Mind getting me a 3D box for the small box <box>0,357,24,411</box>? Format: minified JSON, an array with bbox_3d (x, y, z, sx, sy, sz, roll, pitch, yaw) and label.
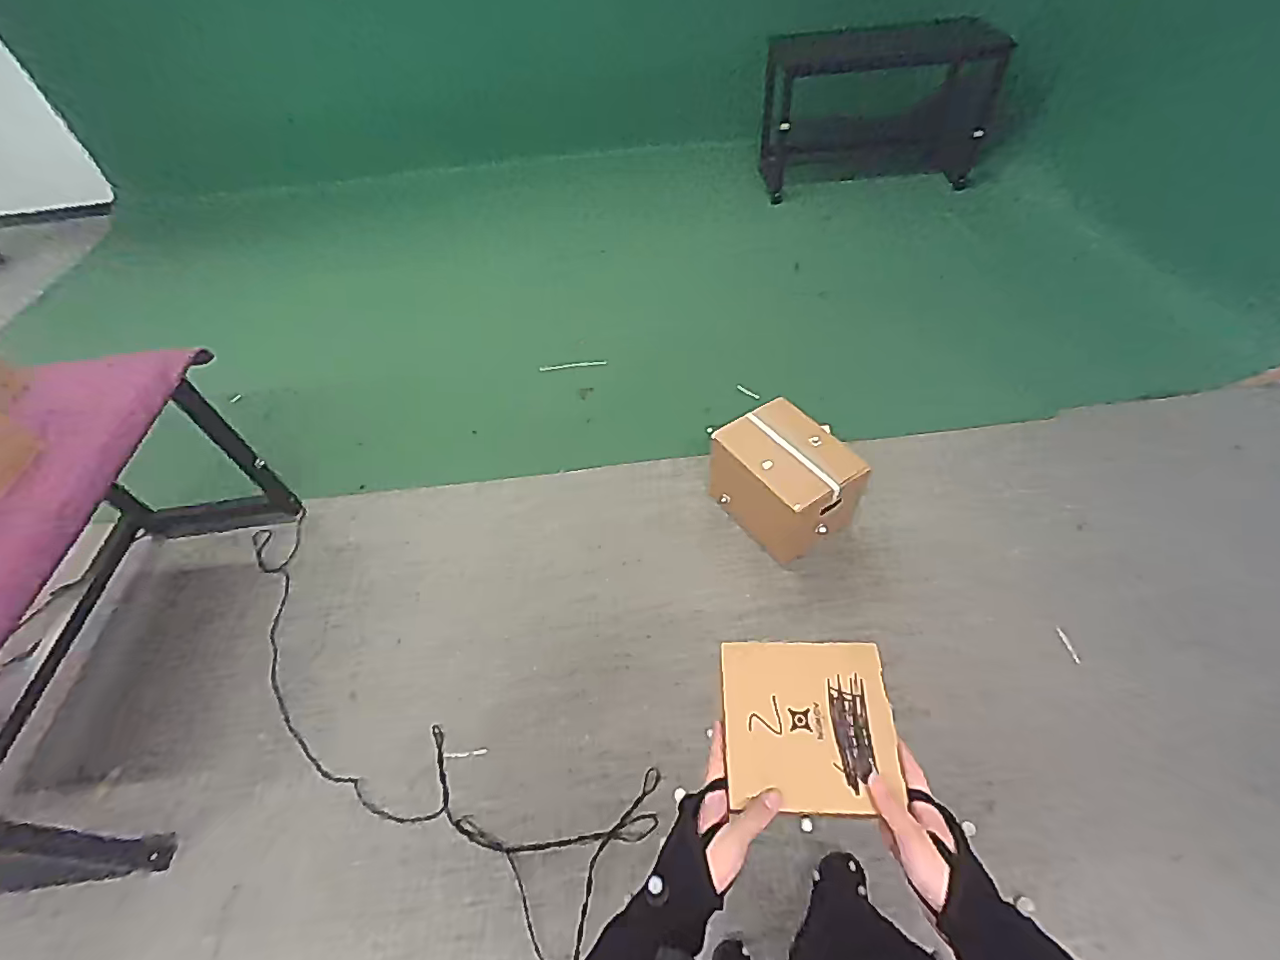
[{"bbox_3d":[-1.786,-0.257,1.400,0.168,0.176,0.179,-4,51,0],"label":"small box"}]
